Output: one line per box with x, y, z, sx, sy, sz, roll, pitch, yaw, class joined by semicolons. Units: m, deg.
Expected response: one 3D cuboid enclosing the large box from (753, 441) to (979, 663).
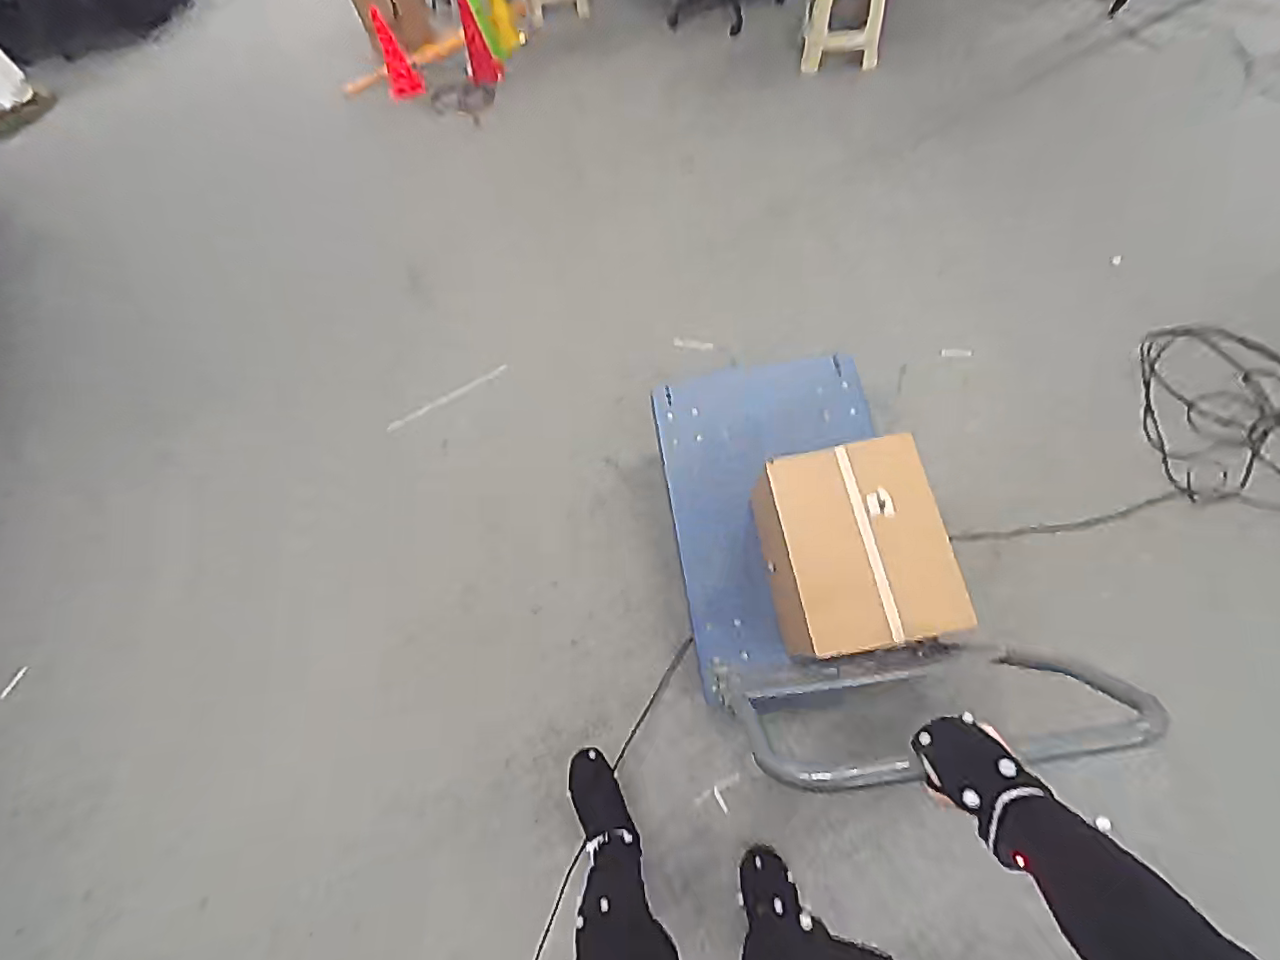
0.466;0.176;1.218;0.320;0.320;0.408;-11;72;1;large box
